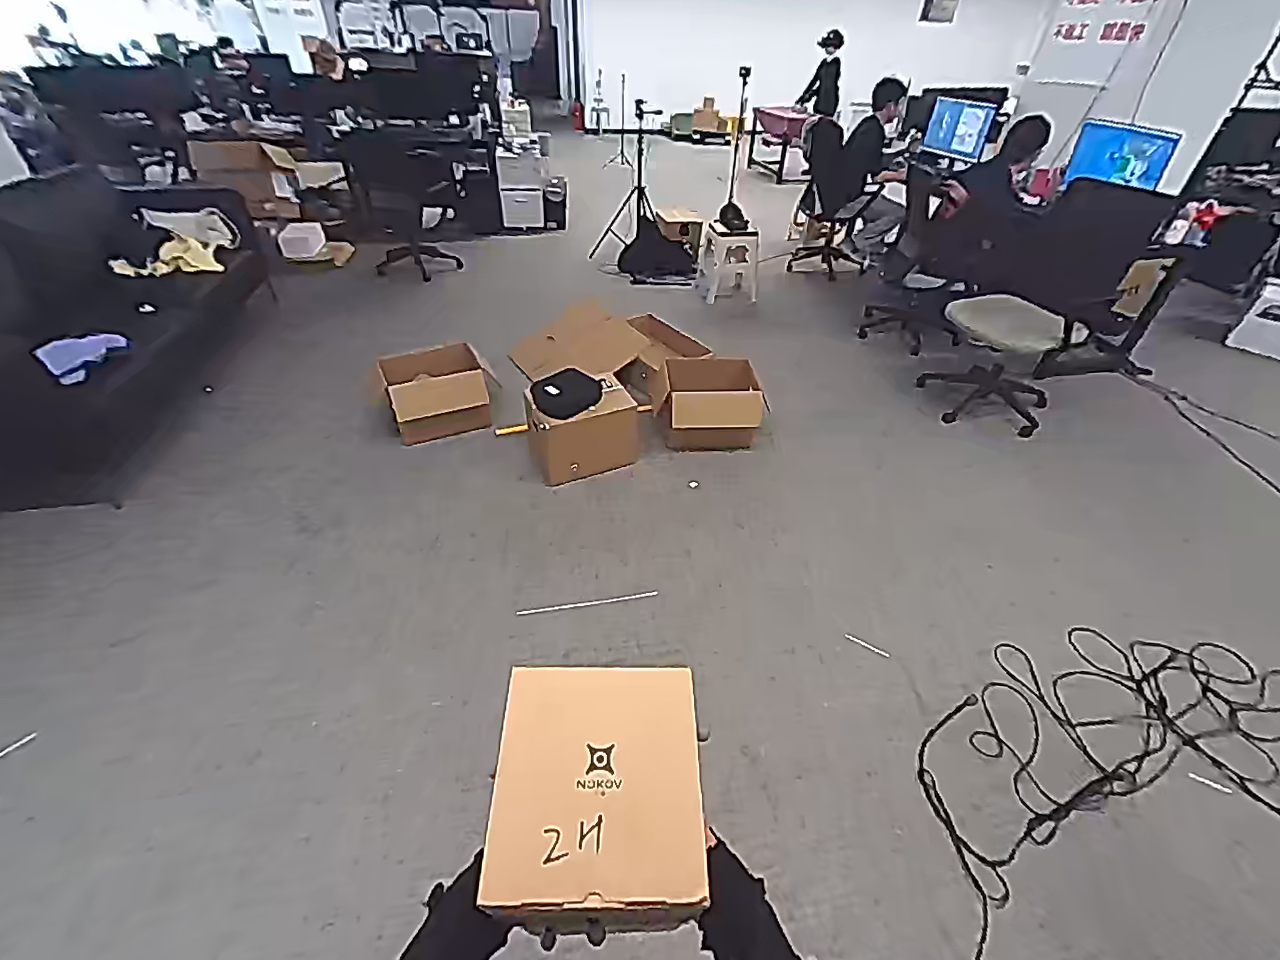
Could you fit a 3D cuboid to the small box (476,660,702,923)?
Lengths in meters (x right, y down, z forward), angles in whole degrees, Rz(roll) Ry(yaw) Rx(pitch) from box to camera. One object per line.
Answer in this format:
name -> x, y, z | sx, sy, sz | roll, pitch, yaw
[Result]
small box -> -0.040, 0.287, 0.500 | 0.168, 0.176, 0.179 | 1, 46, -2
